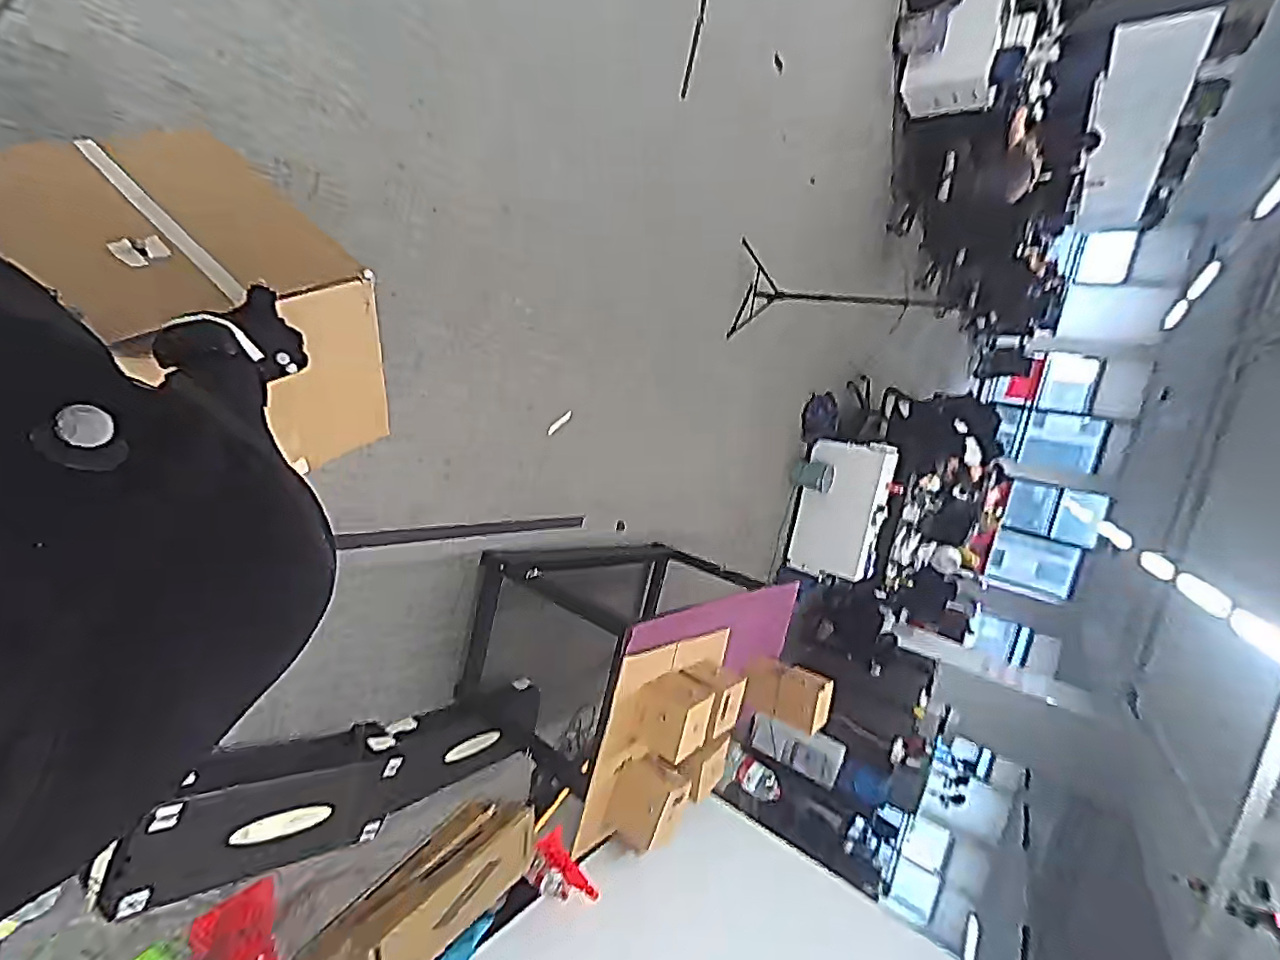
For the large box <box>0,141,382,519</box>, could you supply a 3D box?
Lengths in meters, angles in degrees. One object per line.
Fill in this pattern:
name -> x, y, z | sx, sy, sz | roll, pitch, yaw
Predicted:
large box -> -0.644, -0.225, 0.790 | 0.320, 0.408, 0.320 | -39, 164, -37
